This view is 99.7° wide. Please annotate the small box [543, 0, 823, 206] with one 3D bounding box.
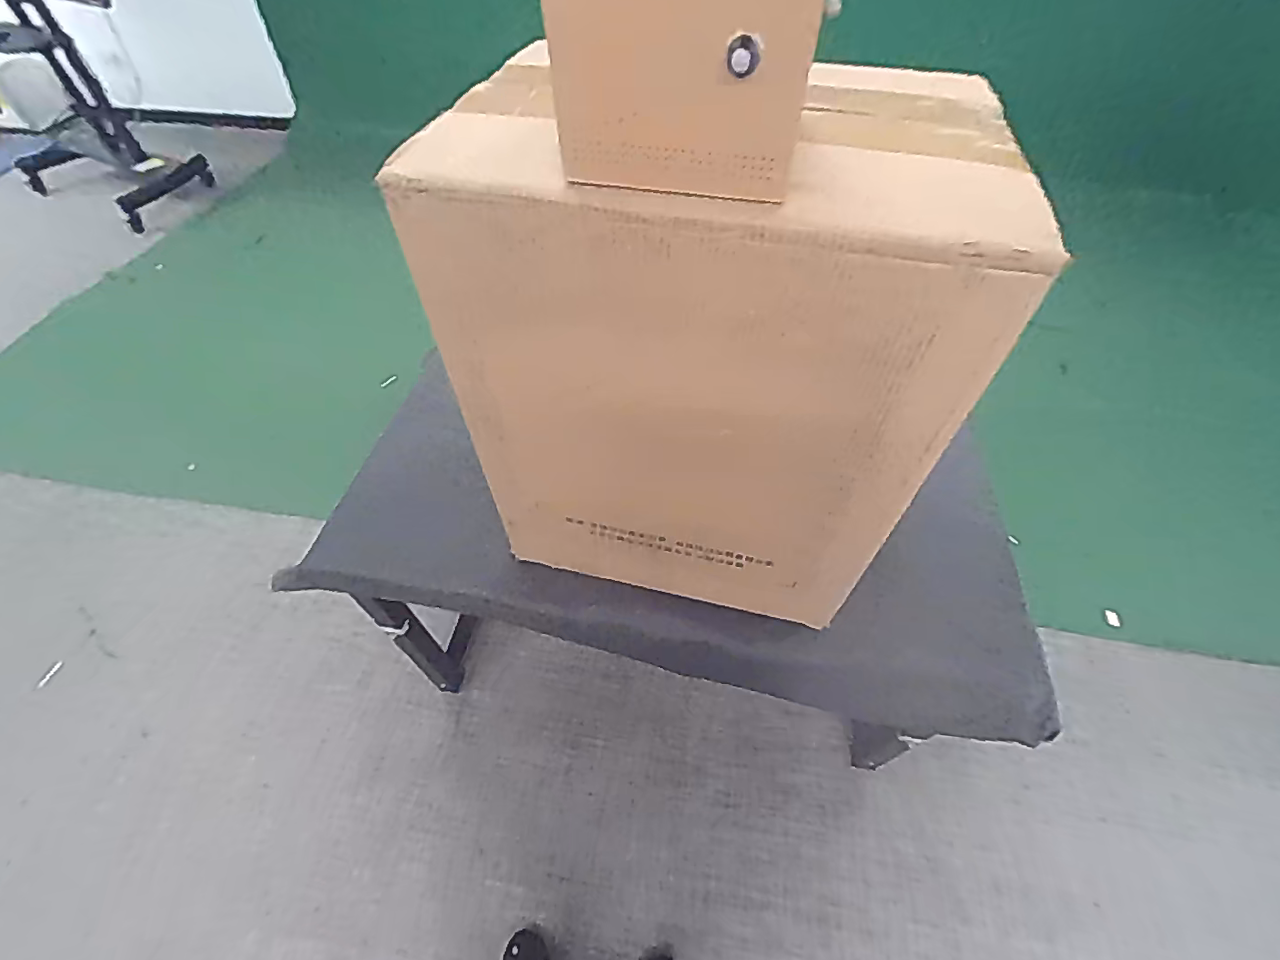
[{"bbox_3d":[0.041,-0.330,0.406,0.179,0.176,0.168,10,54,9],"label":"small box"}]
